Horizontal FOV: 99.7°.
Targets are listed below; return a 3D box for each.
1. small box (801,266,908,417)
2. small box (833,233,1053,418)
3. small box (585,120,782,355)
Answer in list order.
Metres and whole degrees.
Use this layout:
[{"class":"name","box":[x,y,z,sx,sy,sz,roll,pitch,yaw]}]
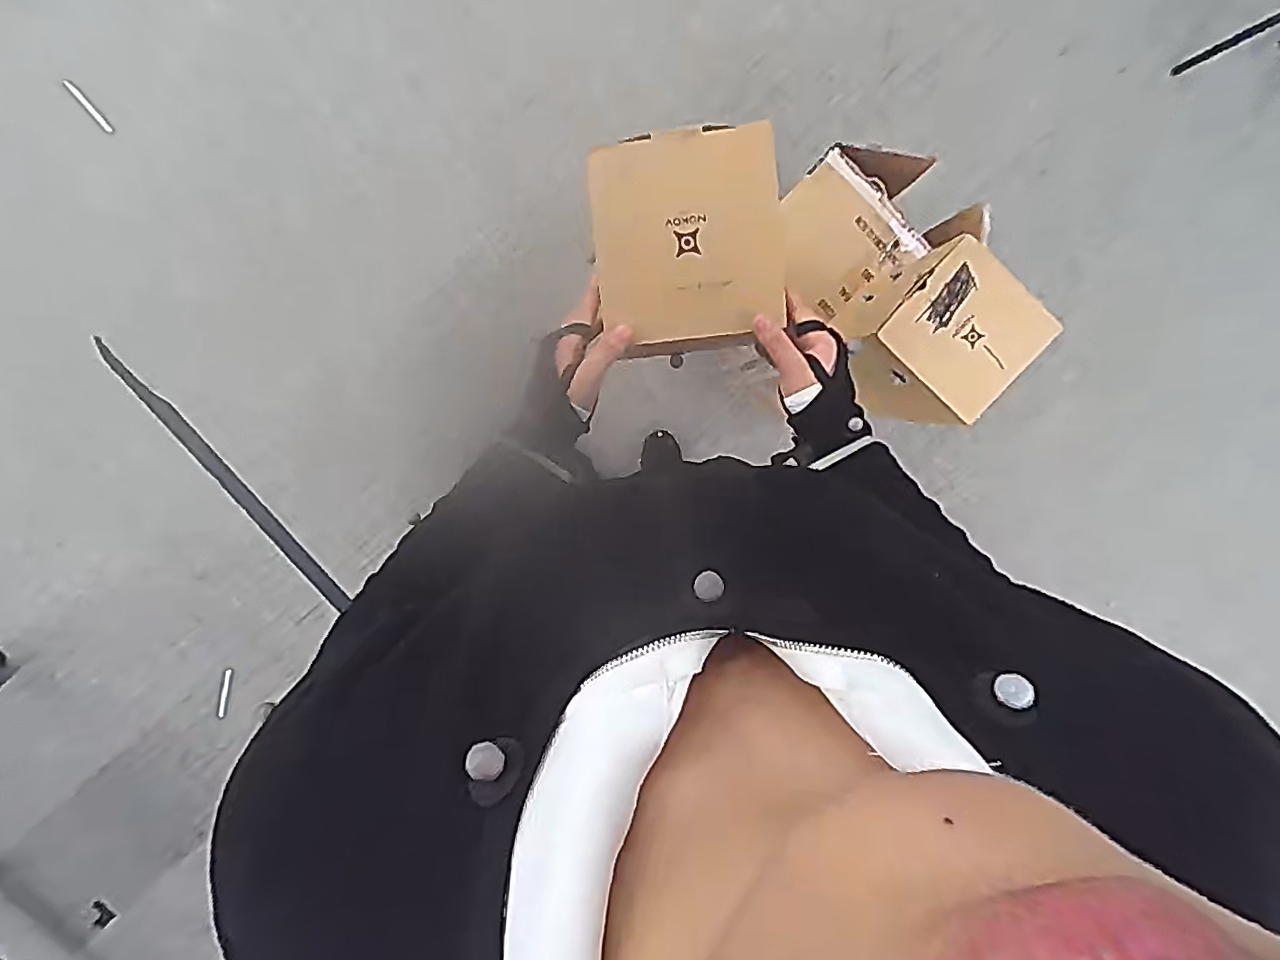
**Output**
[{"class":"small box","box":[0.412,-0.230,0.927,0.179,0.176,0.168,41,96,-6]},{"class":"small box","box":[0.408,-0.204,0.764,0.179,0.176,0.168,41,97,-6]},{"class":"small box","box":[0.041,-0.231,0.560,0.168,0.176,0.179,-7,100,2]}]
